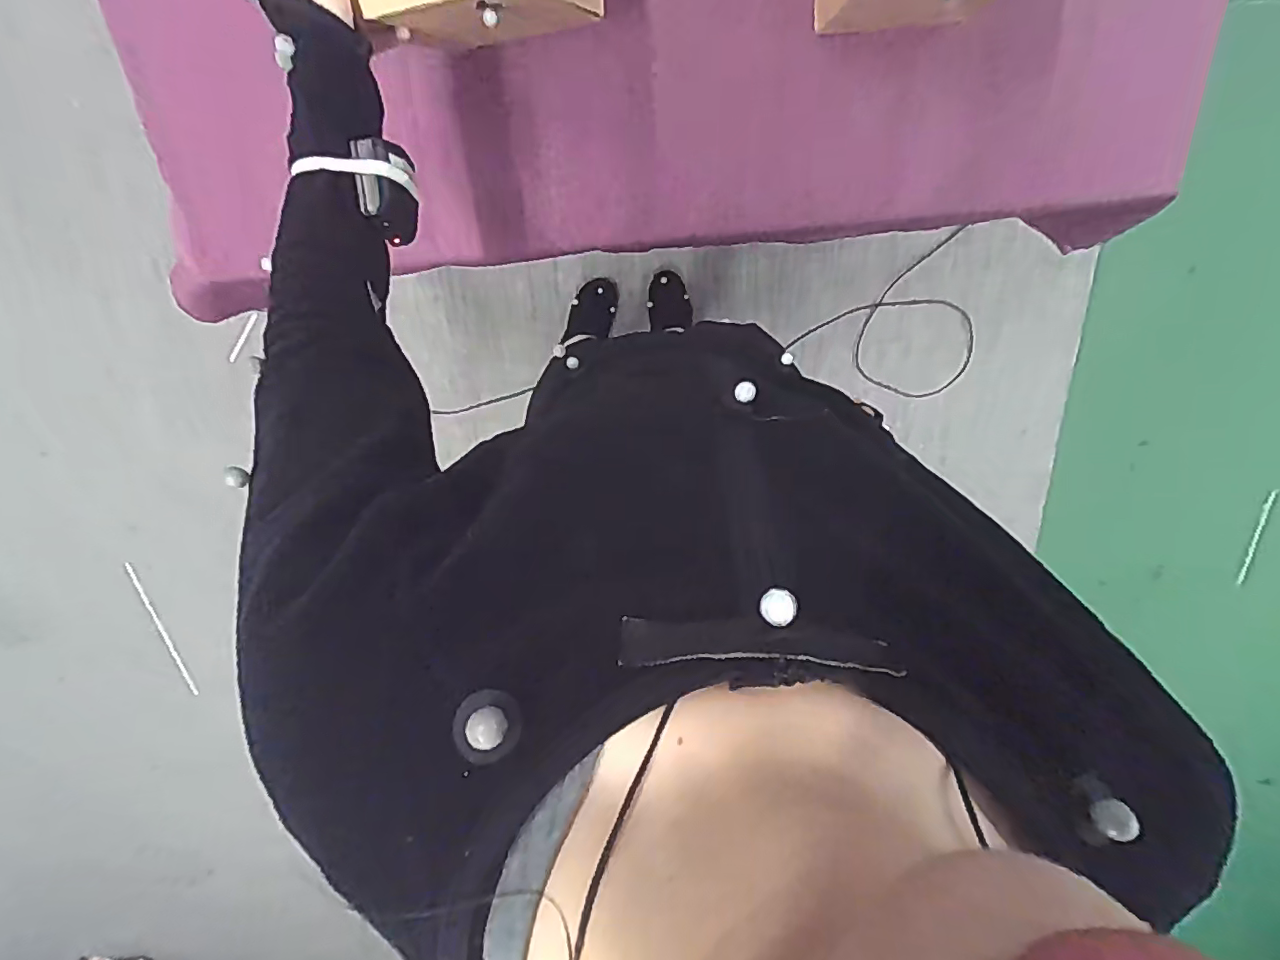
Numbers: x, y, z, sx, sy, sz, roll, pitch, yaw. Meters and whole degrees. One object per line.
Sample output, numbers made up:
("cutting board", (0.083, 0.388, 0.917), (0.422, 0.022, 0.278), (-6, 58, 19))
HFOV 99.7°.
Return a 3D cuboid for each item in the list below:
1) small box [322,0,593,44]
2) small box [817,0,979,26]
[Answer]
("small box", (-0.149, -0.468, 0.425), (0.179, 0.176, 0.168), (4, 123, 19))
("small box", (0.276, -0.549, 0.493), (0.179, 0.176, 0.168), (-6, 113, -3))
